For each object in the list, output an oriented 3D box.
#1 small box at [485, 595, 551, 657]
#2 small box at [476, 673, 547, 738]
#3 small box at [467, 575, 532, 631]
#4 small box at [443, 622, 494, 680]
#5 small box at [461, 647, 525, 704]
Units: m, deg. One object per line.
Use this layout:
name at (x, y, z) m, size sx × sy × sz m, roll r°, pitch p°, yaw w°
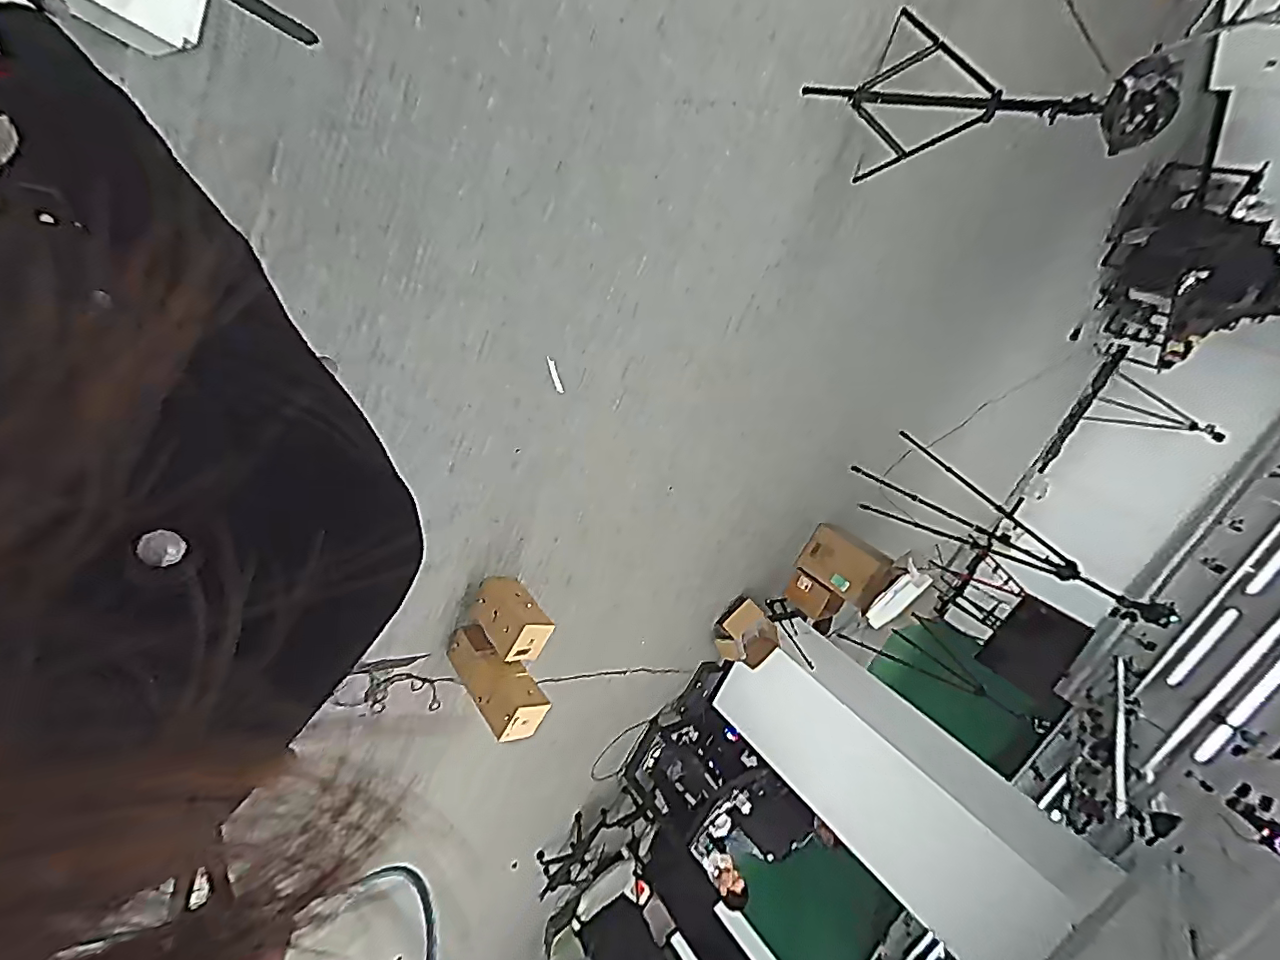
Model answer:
small box at (-0.500, 0.591, 2.182) m, size 0.168 × 0.176 × 0.179 m, roll 21°, pitch 102°, yaw -52°
small box at (-0.510, 0.885, 2.141) m, size 0.179 × 0.176 × 0.168 m, roll 21°, pitch 102°, yaw -53°
small box at (-0.598, 0.519, 2.294) m, size 0.179 × 0.176 × 0.168 m, roll 16°, pitch 107°, yaw -50°
small box at (-0.717, 0.730, 2.341) m, size 0.179 × 0.176 × 0.168 m, roll 9°, pitch 112°, yaw -49°
small box at (-0.615, 0.809, 2.242) m, size 0.168 × 0.176 × 0.179 m, roll 11°, pitch 111°, yaw -50°
